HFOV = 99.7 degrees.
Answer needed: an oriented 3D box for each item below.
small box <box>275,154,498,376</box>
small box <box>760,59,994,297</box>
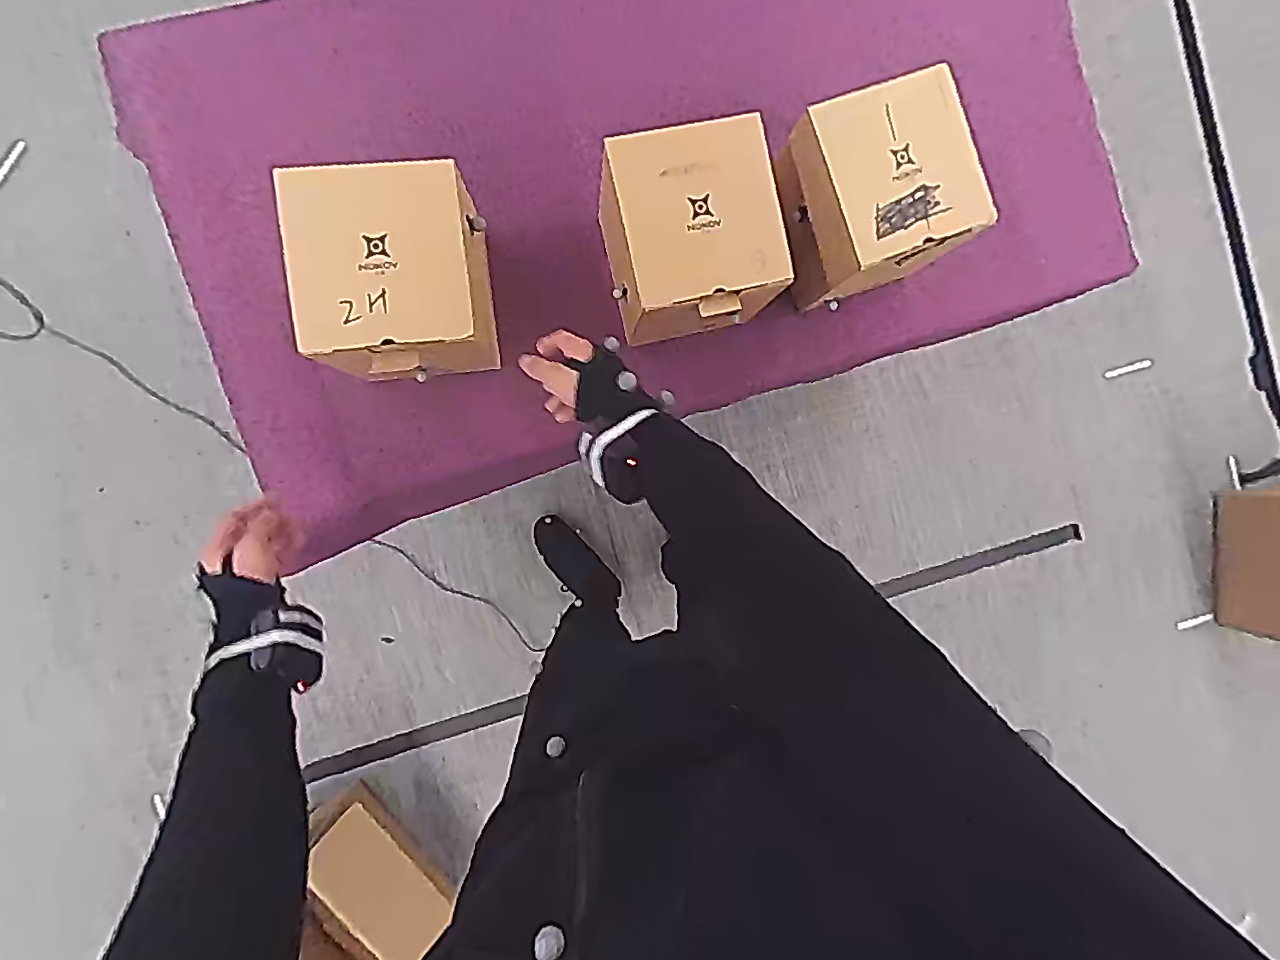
[{"bbox_3d":[-0.257,-0.219,0.589,0.168,0.176,0.179,-7,93,-6],"label":"small box"},{"bbox_3d":[0.265,-0.335,0.642,0.168,0.176,0.179,-20,93,-5],"label":"small box"}]
